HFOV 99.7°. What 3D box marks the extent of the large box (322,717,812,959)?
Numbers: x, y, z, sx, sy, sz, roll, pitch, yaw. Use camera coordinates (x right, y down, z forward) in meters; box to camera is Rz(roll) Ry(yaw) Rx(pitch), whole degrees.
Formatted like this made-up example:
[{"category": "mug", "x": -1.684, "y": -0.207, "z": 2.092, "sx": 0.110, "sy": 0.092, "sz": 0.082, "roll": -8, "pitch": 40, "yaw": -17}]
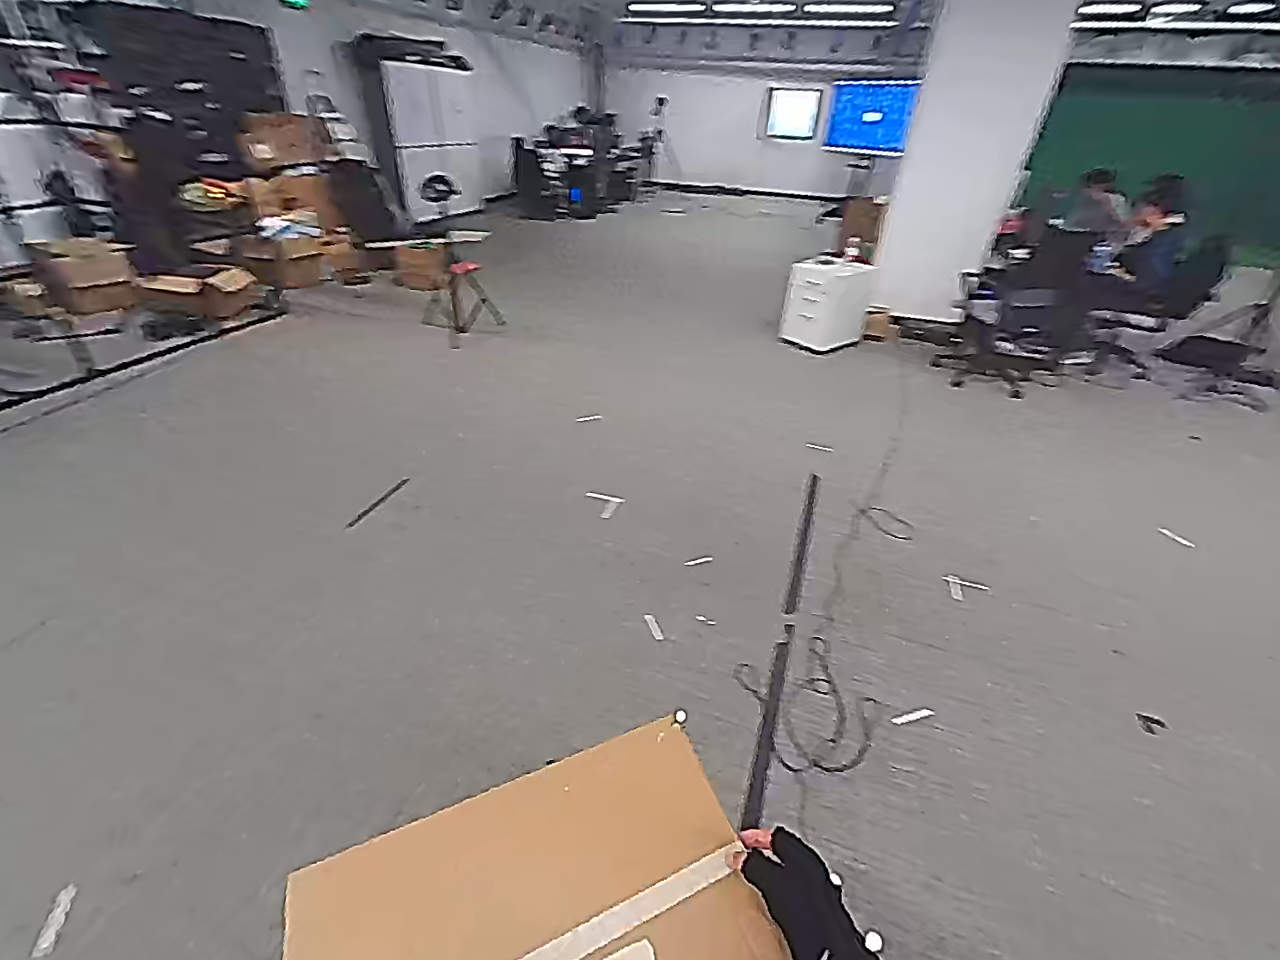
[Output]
[{"category": "large box", "x": -0.071, "y": 0.535, "z": 0.571, "sx": 0.408, "sy": 0.320, "sz": 0.320, "roll": -13, "pitch": 41, "yaw": -19}]
